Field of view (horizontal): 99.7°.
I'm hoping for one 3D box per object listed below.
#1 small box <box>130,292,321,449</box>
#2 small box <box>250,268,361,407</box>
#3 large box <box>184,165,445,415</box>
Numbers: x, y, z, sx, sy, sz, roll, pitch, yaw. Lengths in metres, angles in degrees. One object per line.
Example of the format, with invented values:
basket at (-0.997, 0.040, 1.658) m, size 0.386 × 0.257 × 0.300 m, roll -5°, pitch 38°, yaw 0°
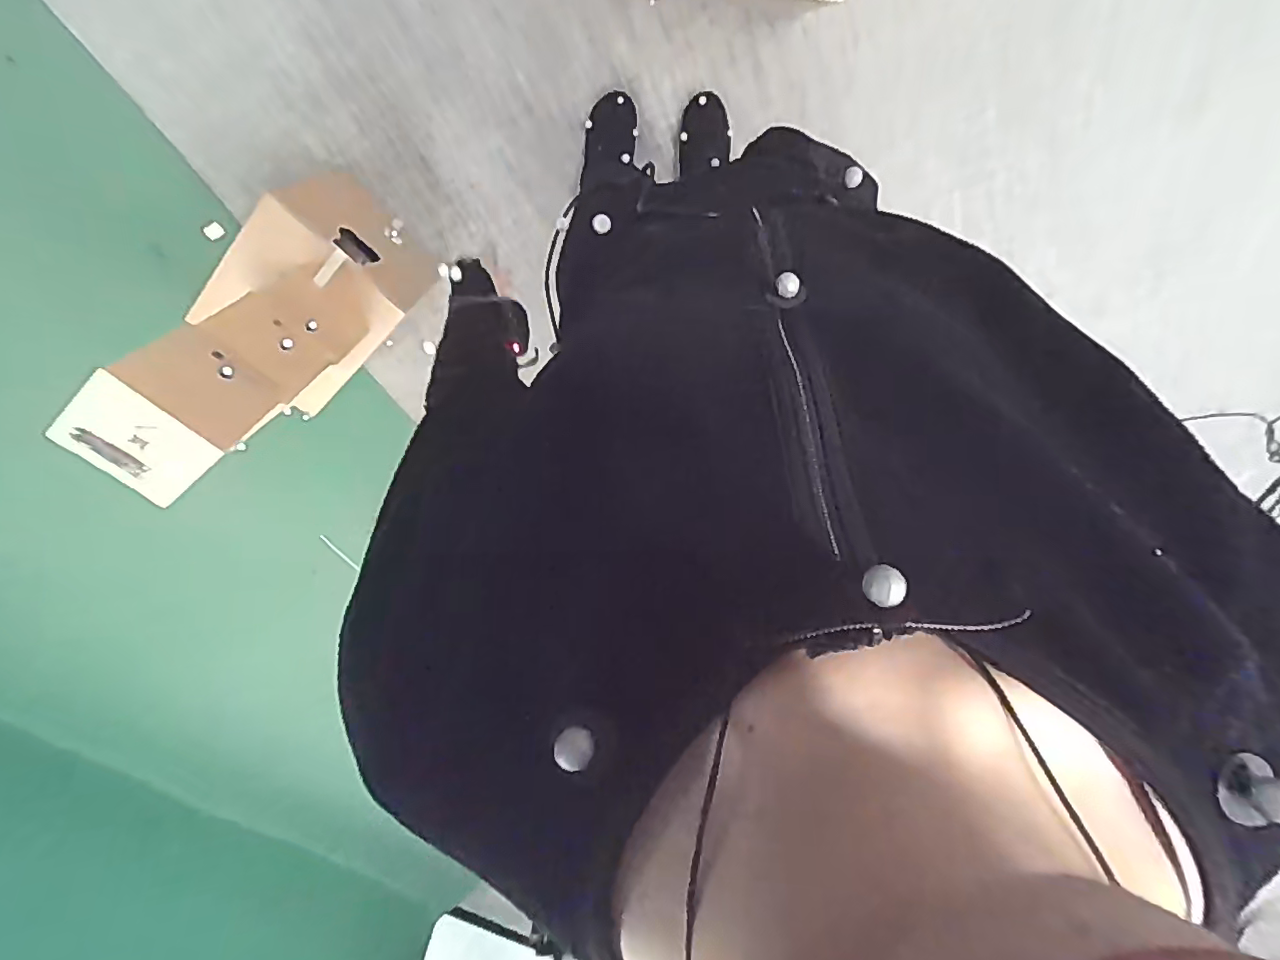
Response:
small box at (-0.703, -0.192, 0.939) m, size 0.179 × 0.176 × 0.168 m, roll -28°, pitch 122°, yaw 20°
small box at (-0.699, -0.284, 1.072) m, size 0.168 × 0.176 × 0.179 m, roll -29°, pitch 122°, yaw 21°
large box at (-0.735, -0.440, 1.264) m, size 0.408 × 0.320 × 0.320 m, roll -34°, pitch 119°, yaw 25°
